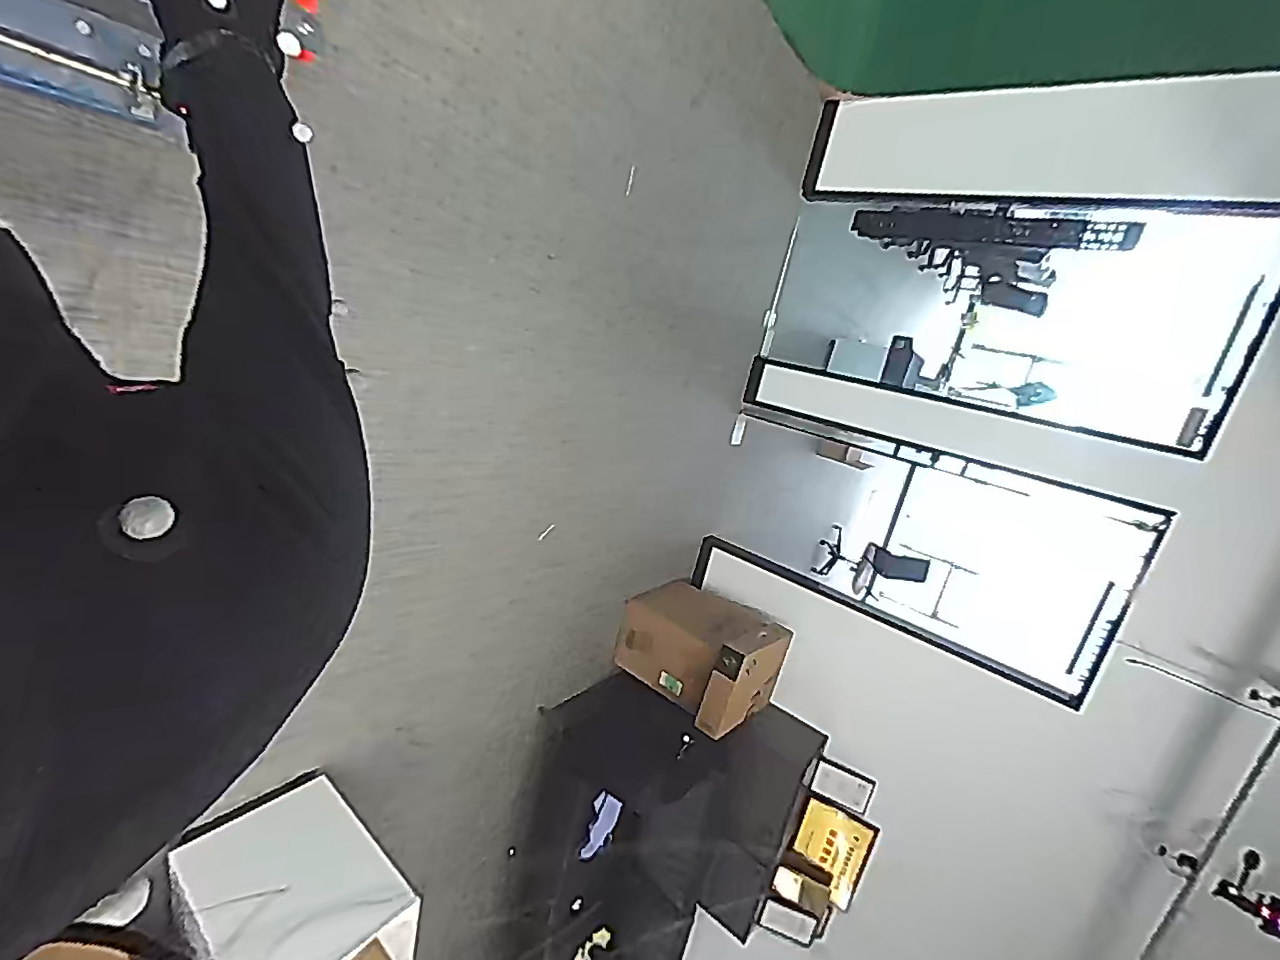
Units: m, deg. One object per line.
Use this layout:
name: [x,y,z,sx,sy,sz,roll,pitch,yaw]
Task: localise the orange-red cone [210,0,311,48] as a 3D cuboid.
orange-red cone: [-0.627,-0.952,0.972,0.199,0.360,0.198,-3,112,-53]
